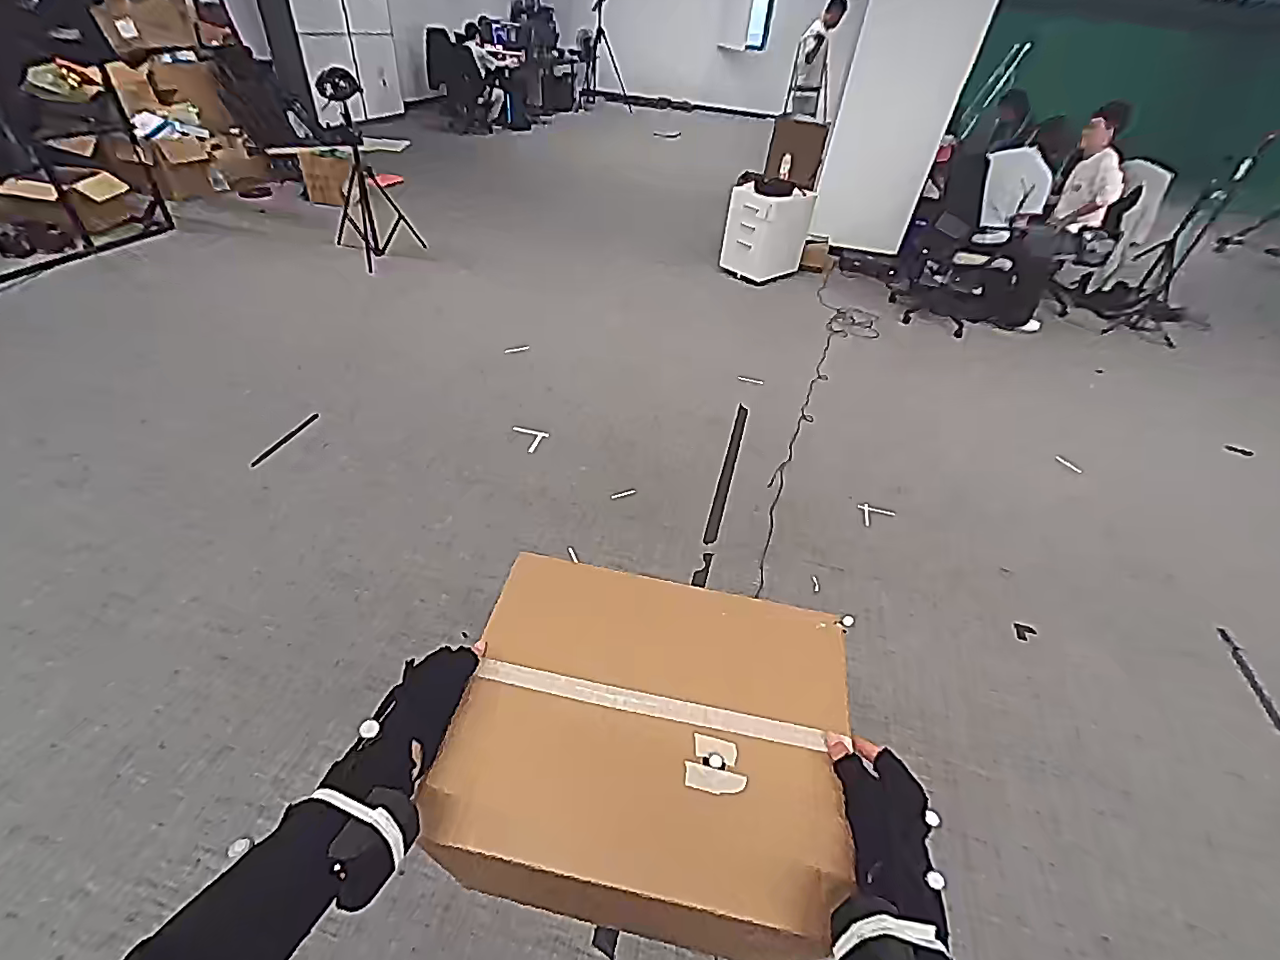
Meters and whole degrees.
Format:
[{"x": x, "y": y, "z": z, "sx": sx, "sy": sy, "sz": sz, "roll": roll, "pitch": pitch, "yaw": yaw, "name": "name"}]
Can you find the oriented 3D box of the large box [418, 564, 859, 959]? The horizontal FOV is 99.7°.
[{"x": 0.005, "y": 0.348, "z": 0.680, "sx": 0.408, "sy": 0.320, "sz": 0.320, "roll": 11, "pitch": 46, "yaw": 5, "name": "large box"}]
